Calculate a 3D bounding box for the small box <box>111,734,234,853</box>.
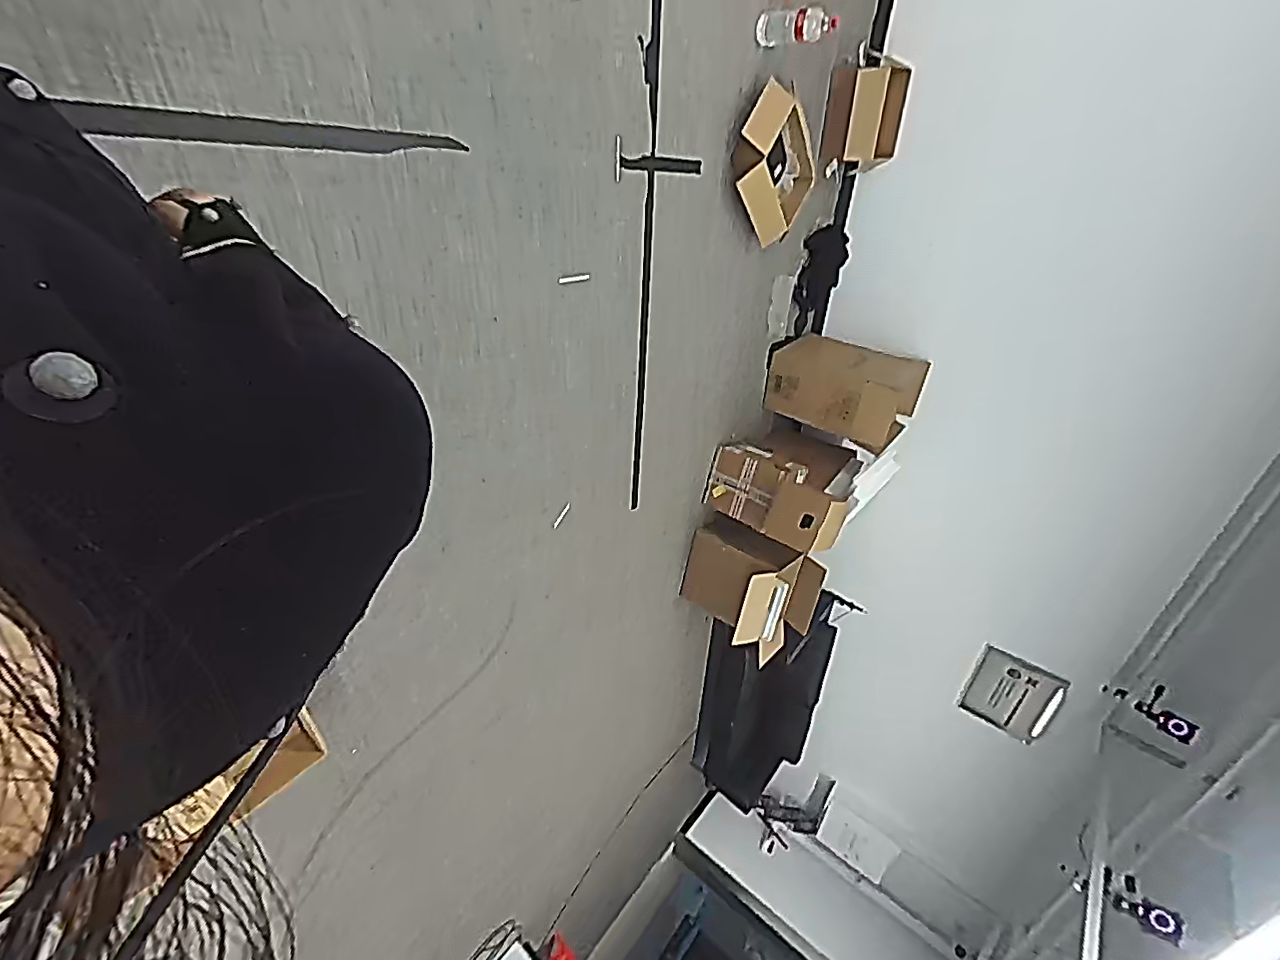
[{"bbox_3d":[-1.202,0.799,1.394,0.168,0.176,0.179,-36,138,-39],"label":"small box"}]
